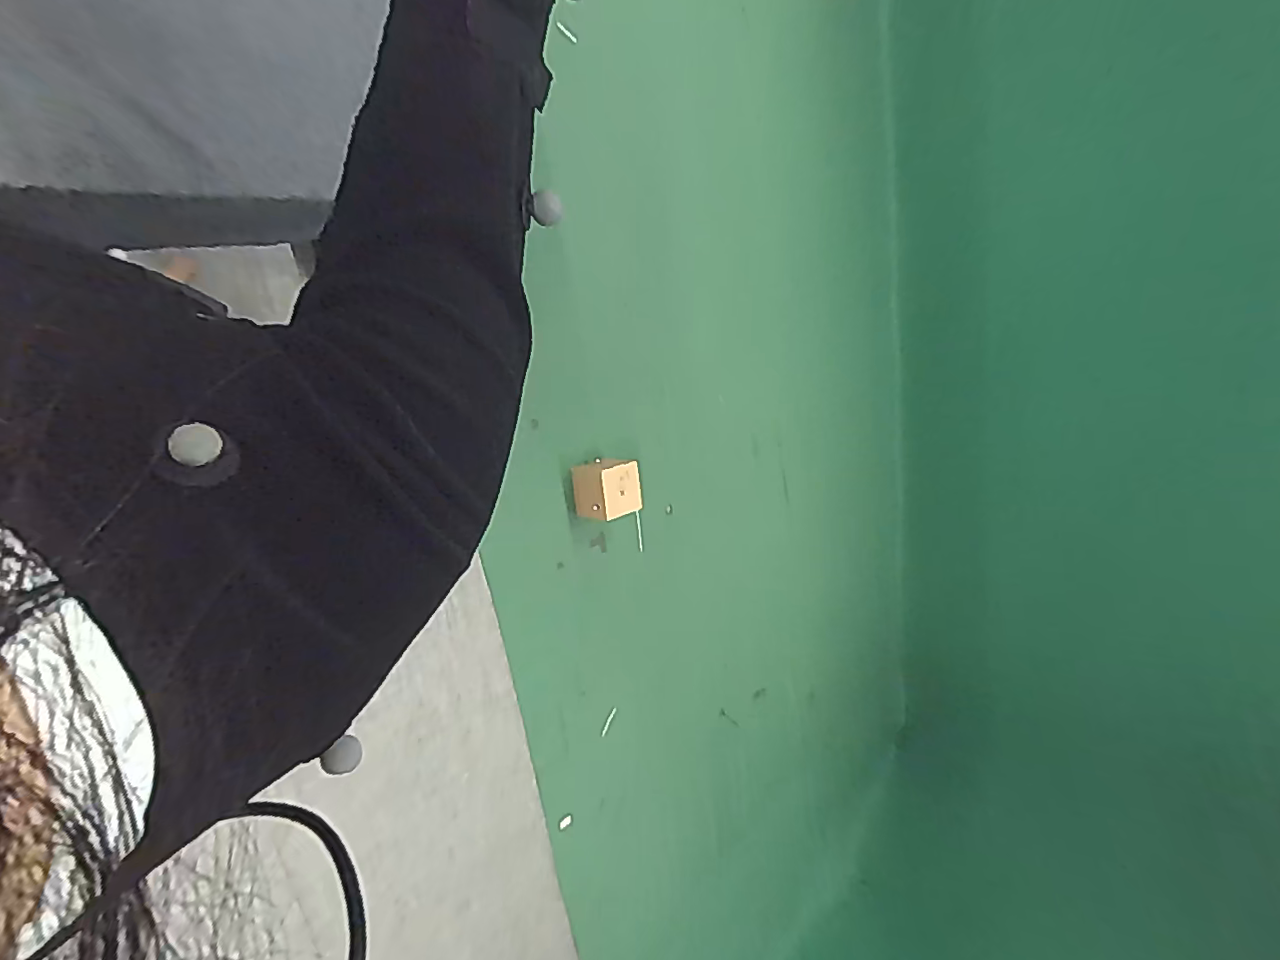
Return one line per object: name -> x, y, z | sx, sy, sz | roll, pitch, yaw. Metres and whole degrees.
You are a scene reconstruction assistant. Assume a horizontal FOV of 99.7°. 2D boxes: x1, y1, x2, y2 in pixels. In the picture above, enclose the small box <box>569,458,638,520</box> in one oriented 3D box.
small box -> -0.129, 0.027, 1.885 | 0.168, 0.176, 0.179 | -18, 106, -42
